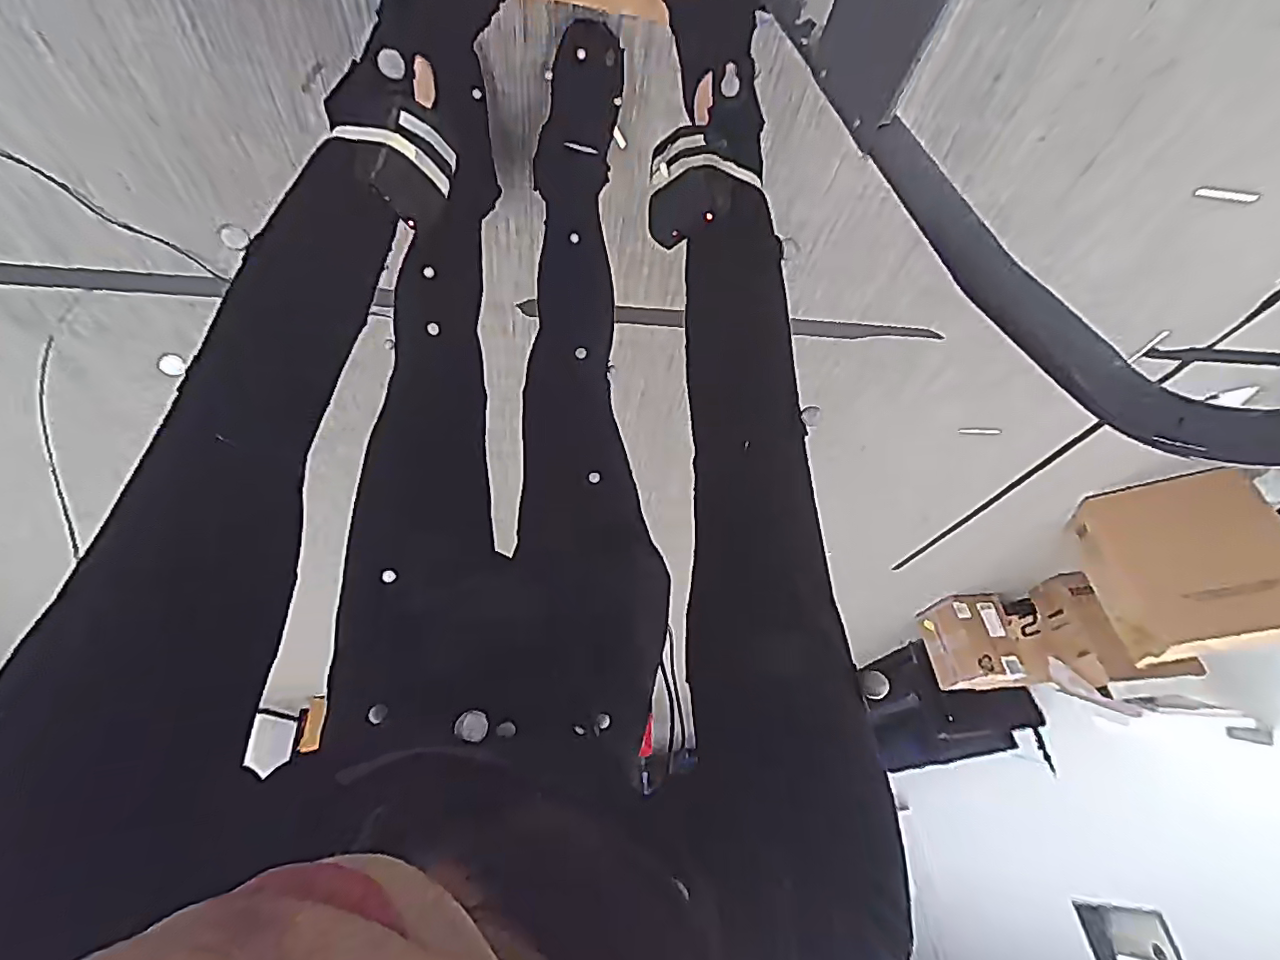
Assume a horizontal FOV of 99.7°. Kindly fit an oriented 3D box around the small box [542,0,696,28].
[{"bbox_3d":[-0.027,-0.512,0.421,0.179,0.176,0.168,2,160,-12],"label":"small box"}]
